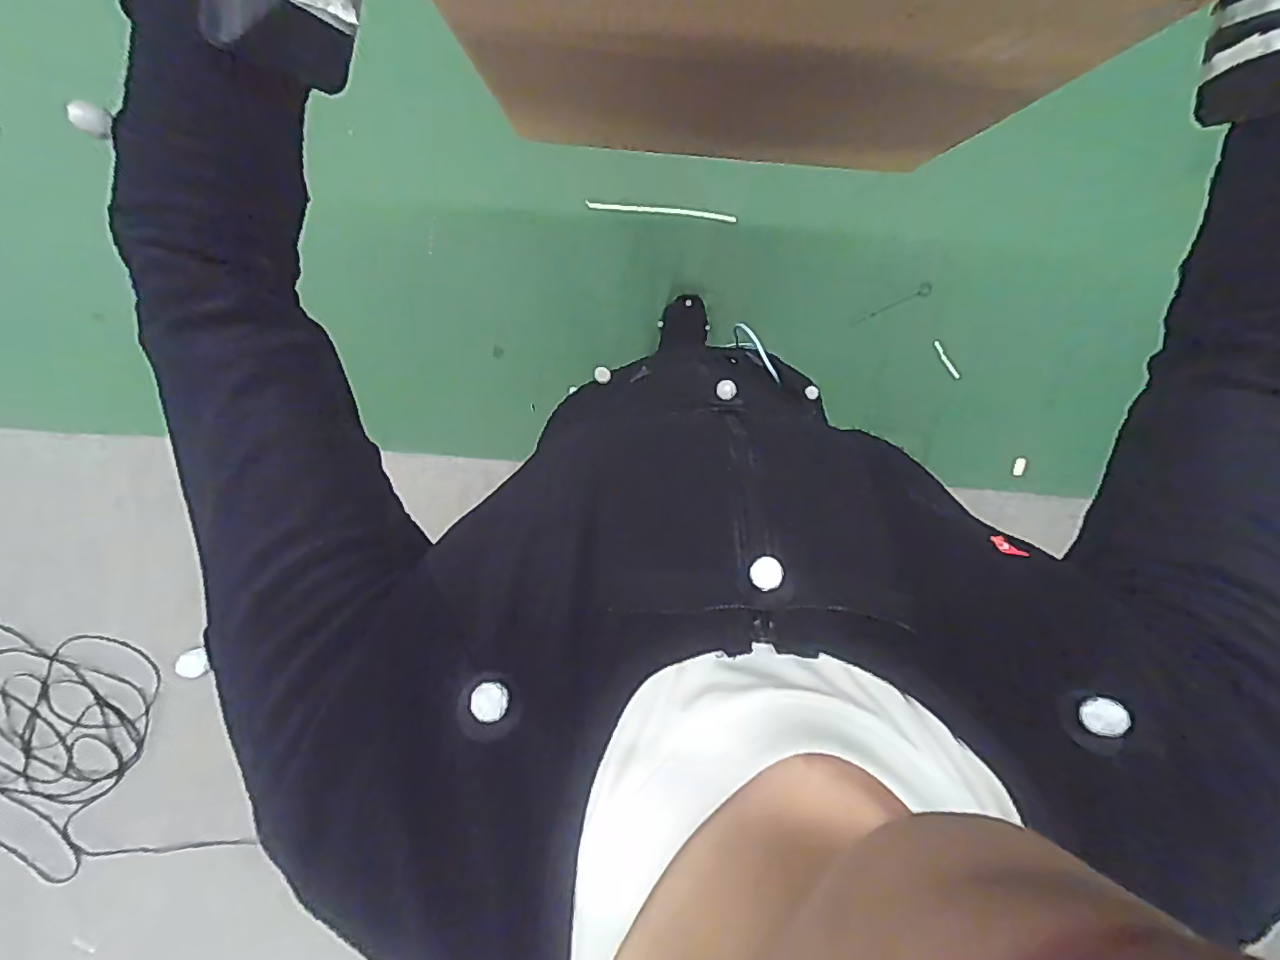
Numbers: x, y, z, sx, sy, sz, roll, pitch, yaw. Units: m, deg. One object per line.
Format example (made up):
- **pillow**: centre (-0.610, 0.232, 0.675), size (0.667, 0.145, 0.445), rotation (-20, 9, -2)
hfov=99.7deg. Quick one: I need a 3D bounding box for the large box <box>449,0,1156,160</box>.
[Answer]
- **large box**: centre (0.087, -0.442, 0.371), size (0.408, 0.320, 0.320), rotation (3, 107, -1)
